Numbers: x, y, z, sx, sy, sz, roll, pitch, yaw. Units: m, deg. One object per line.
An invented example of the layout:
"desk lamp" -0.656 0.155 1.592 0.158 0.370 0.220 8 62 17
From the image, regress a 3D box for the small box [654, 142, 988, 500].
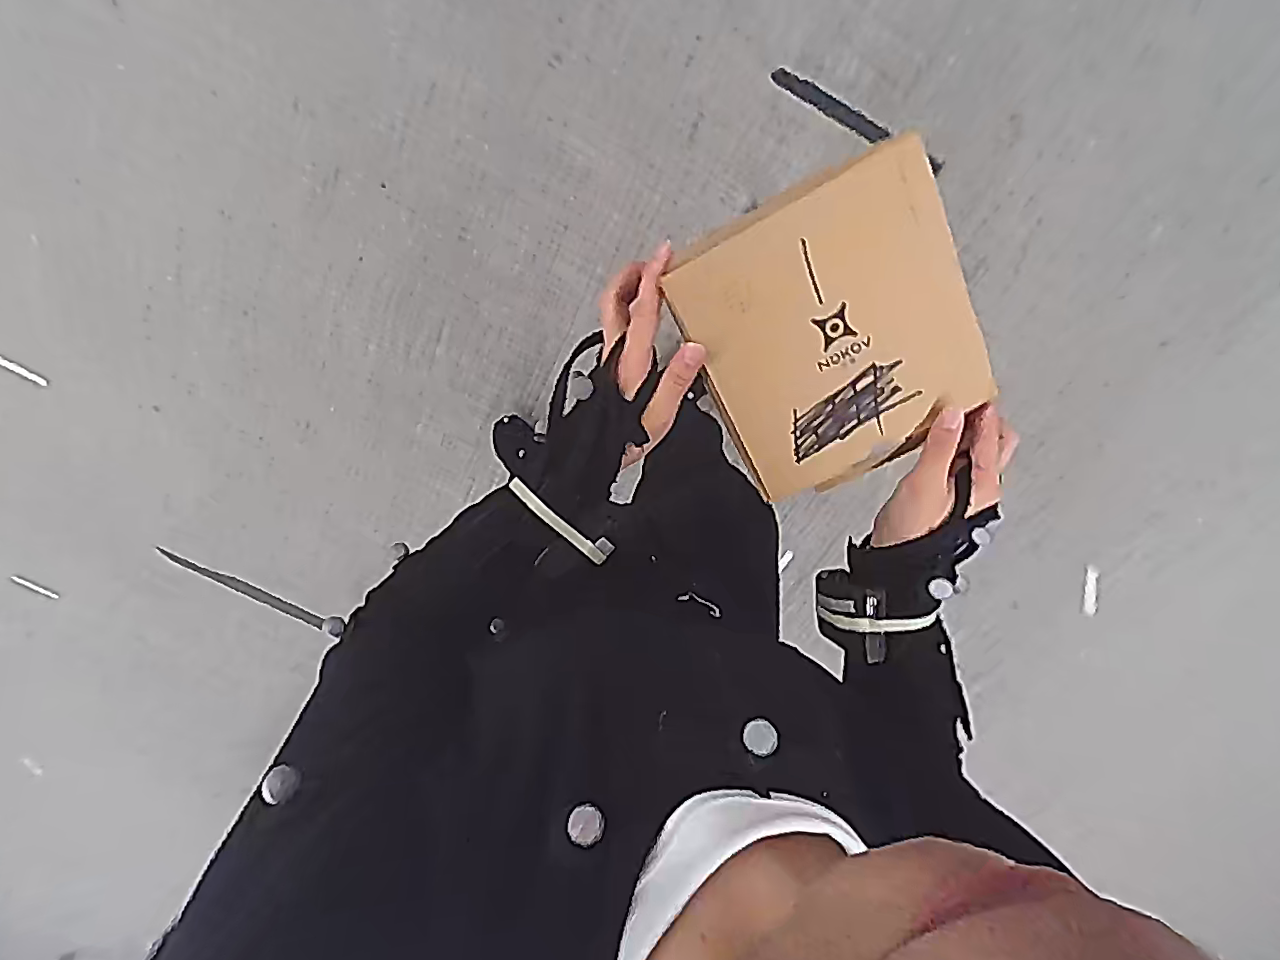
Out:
"small box" 0.122 -0.119 0.418 0.168 0.176 0.179 -27 111 10
